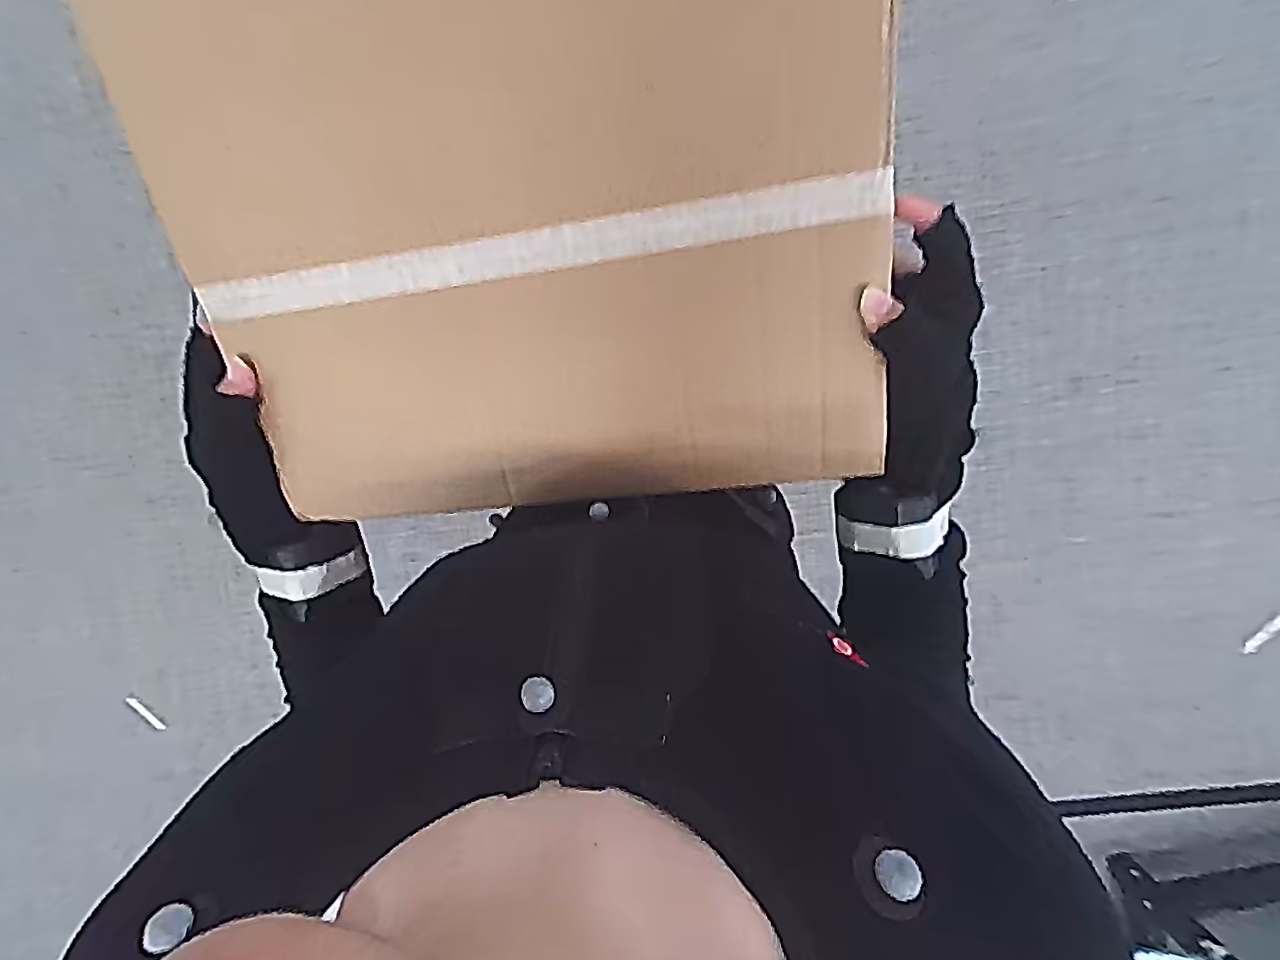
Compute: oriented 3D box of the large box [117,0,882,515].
[{"bbox_3d":[-0.050,-0.192,0.451,0.408,0.320,0.320,-5,112,9],"label":"large box"}]
